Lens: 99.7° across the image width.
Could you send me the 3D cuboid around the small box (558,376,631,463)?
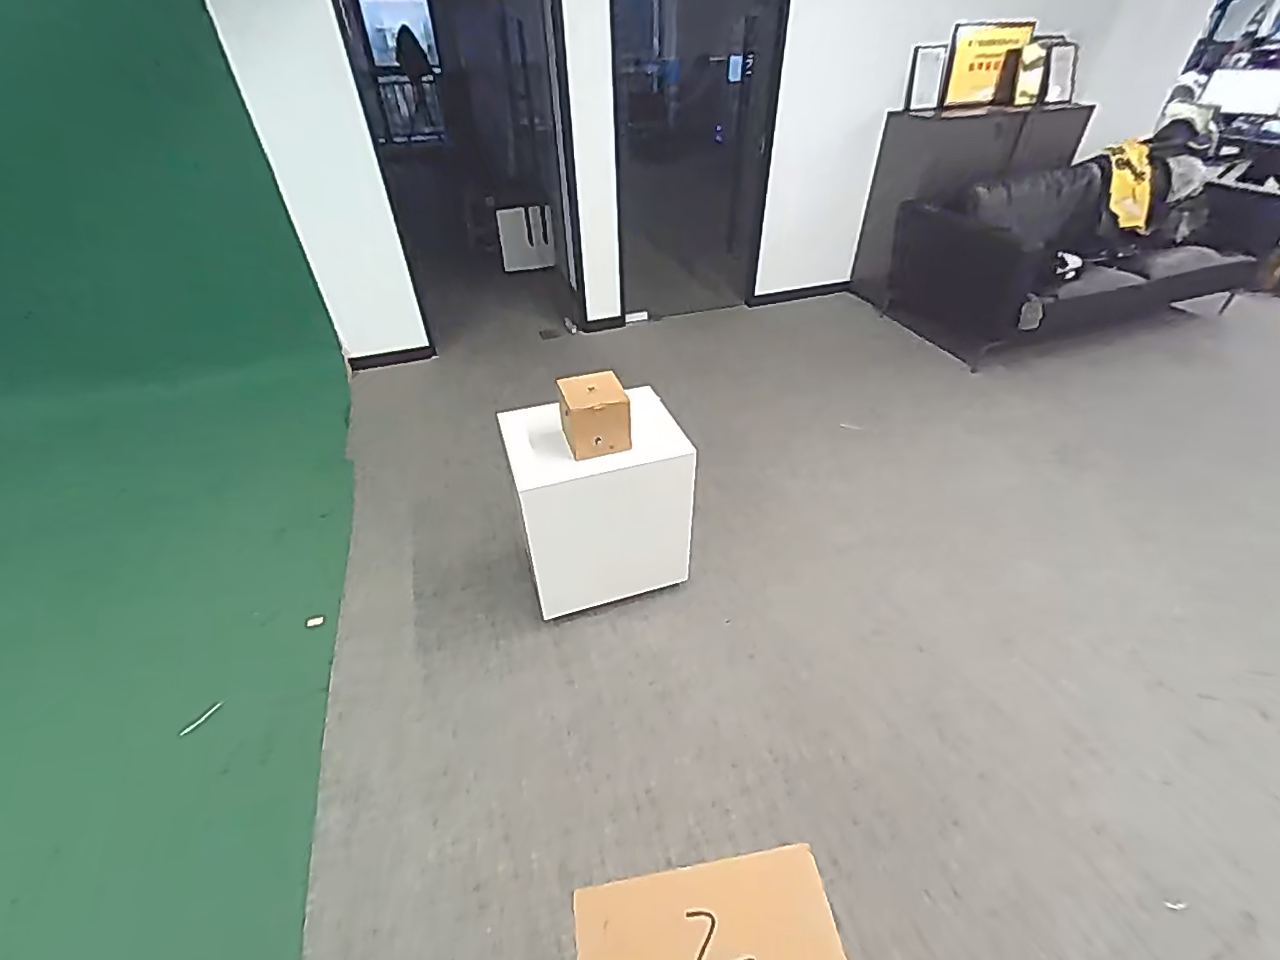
[{"bbox_3d":[-0.127,-0.172,1.523,0.168,0.176,0.179,-13,40,-15],"label":"small box"}]
